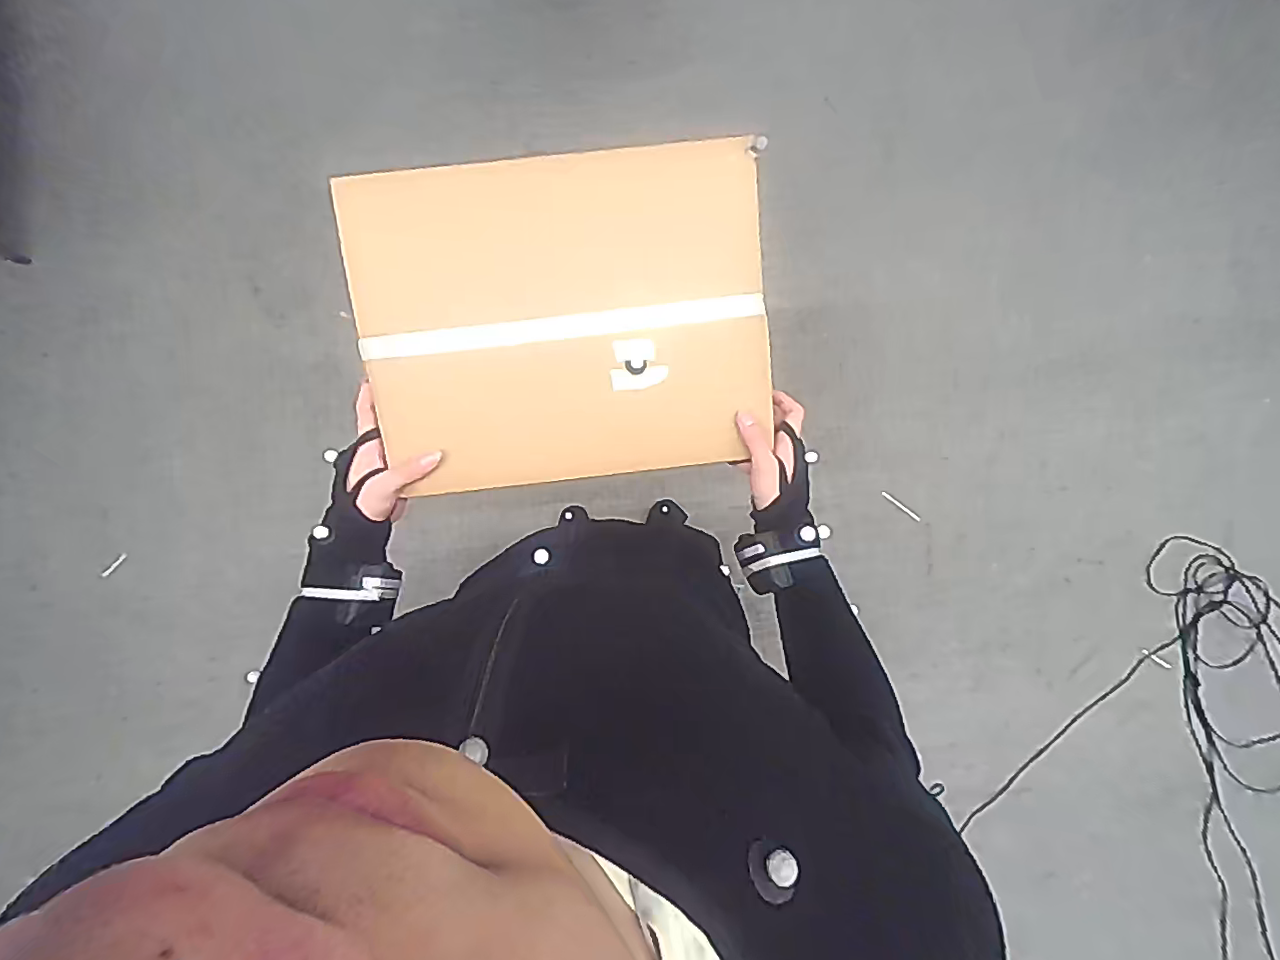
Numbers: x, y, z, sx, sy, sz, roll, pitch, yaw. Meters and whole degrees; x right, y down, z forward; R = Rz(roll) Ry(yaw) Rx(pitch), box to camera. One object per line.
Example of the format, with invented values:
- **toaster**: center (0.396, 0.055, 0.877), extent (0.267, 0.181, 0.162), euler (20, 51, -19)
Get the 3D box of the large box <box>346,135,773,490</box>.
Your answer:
- **large box**: center (-0.079, -0.190, 0.697), extent (0.408, 0.320, 0.320), euler (-7, 102, -2)
